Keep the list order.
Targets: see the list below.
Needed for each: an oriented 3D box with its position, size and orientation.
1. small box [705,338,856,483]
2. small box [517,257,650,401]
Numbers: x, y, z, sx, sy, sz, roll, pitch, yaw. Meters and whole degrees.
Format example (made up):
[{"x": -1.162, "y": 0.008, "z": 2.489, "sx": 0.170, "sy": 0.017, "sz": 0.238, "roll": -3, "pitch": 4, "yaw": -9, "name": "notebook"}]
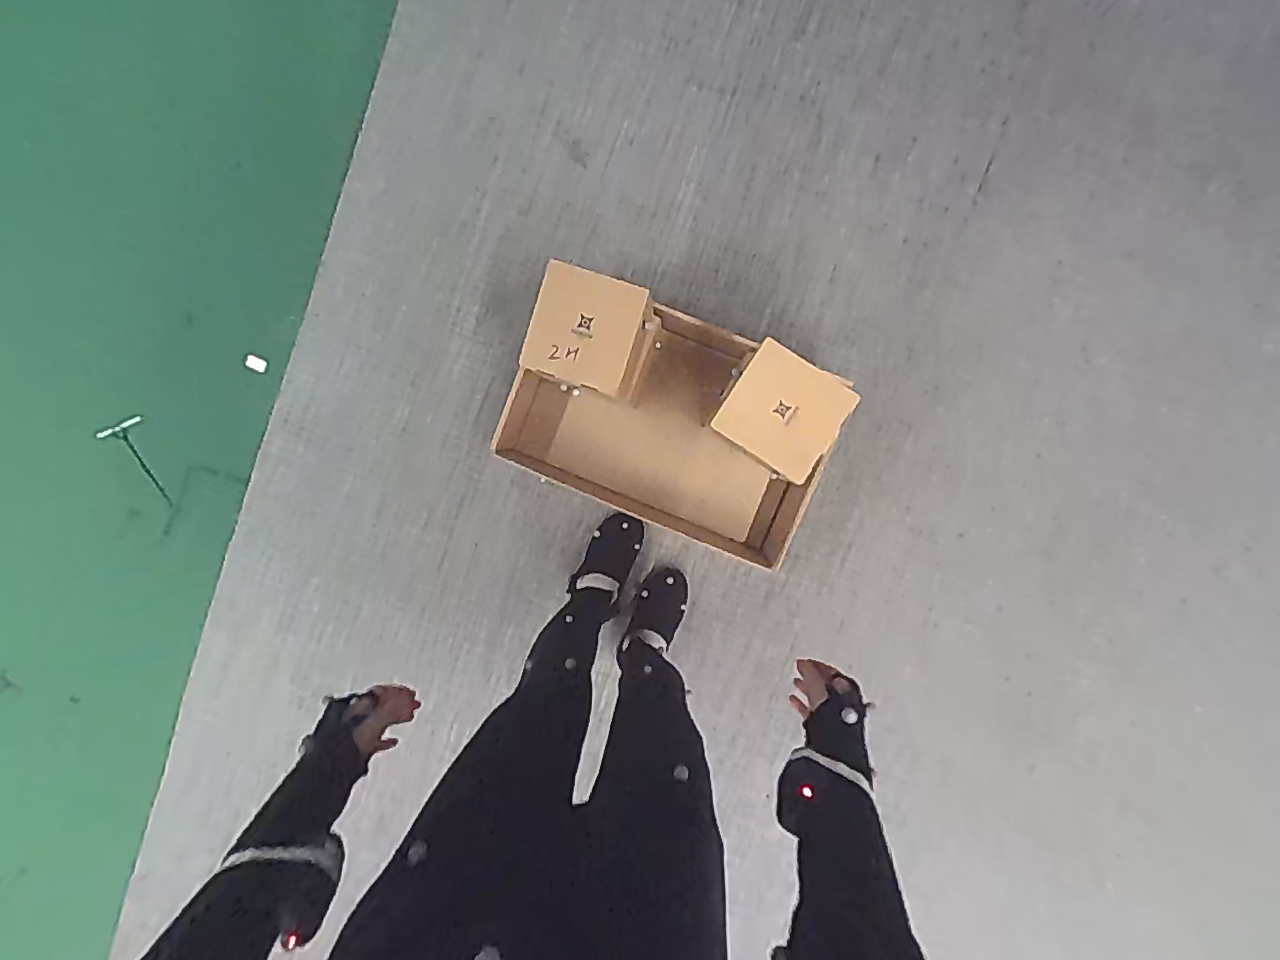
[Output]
[{"x": 0.223, "y": -0.111, "z": 0.918, "sx": 0.179, "sy": 0.176, "sz": 0.168, "roll": 34, "pitch": 96, "yaw": 1, "name": "small box"}, {"x": -0.086, "y": -0.246, "z": 0.924, "sx": 0.168, "sy": 0.176, "sz": 0.179, "roll": 20, "pitch": 96, "yaw": 3, "name": "small box"}]
